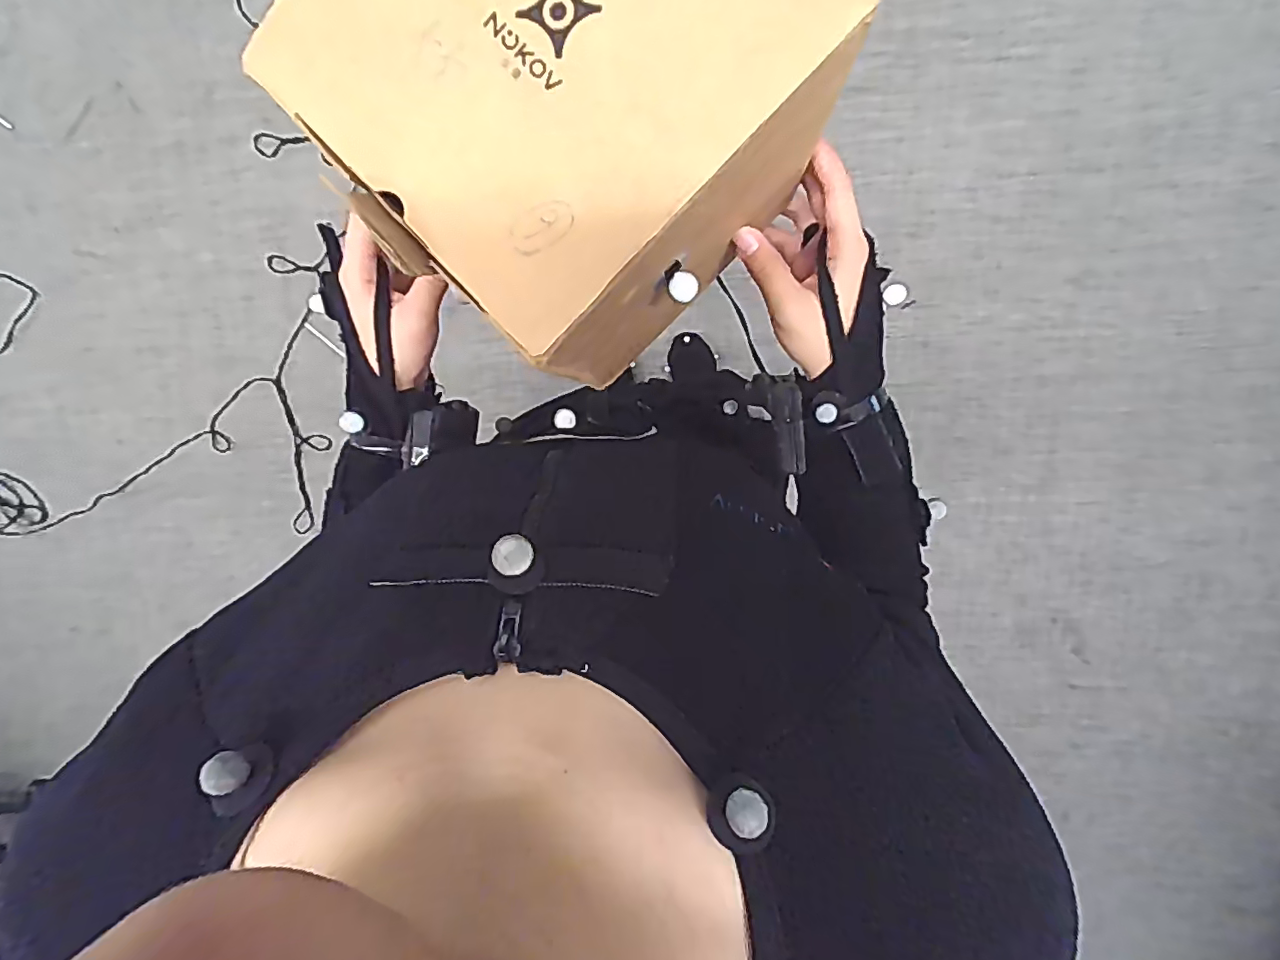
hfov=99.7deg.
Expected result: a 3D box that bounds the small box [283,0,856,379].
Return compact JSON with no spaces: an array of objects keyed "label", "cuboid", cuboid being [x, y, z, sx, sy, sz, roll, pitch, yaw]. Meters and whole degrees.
[{"label":"small box","cuboid":[-0.025,-0.171,0.290,0.168,0.176,0.179,45,99,-1]}]
